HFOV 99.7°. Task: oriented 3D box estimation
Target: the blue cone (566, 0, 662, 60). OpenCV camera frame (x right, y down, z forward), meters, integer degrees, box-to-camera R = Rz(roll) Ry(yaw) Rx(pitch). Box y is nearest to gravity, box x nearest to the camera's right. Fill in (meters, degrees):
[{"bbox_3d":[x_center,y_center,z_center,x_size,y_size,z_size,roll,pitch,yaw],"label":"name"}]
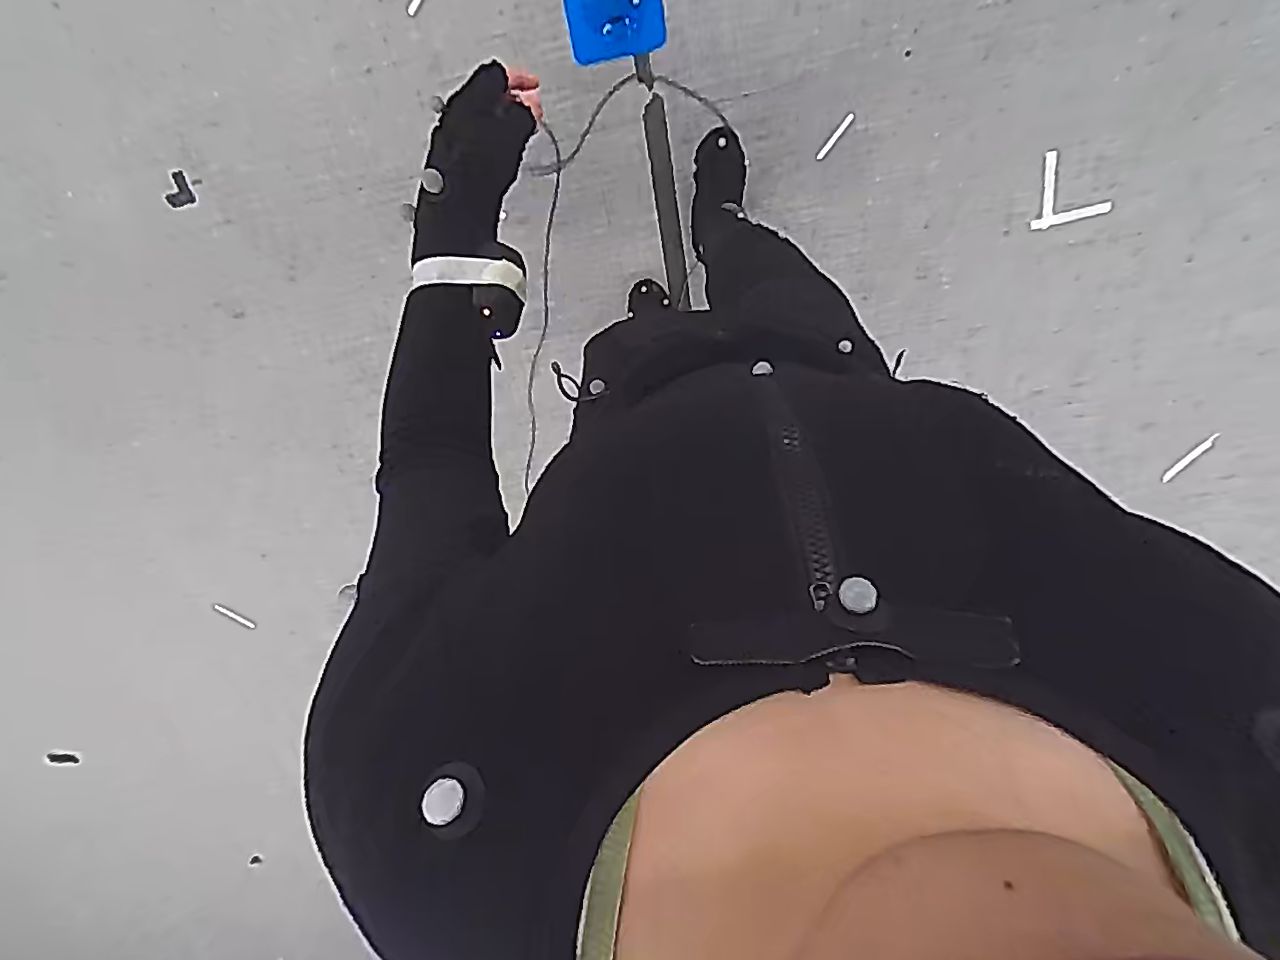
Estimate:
[{"bbox_3d":[-0.062,-0.894,0.930,0.193,0.380,0.192,-10,115,7],"label":"blue cone"}]
